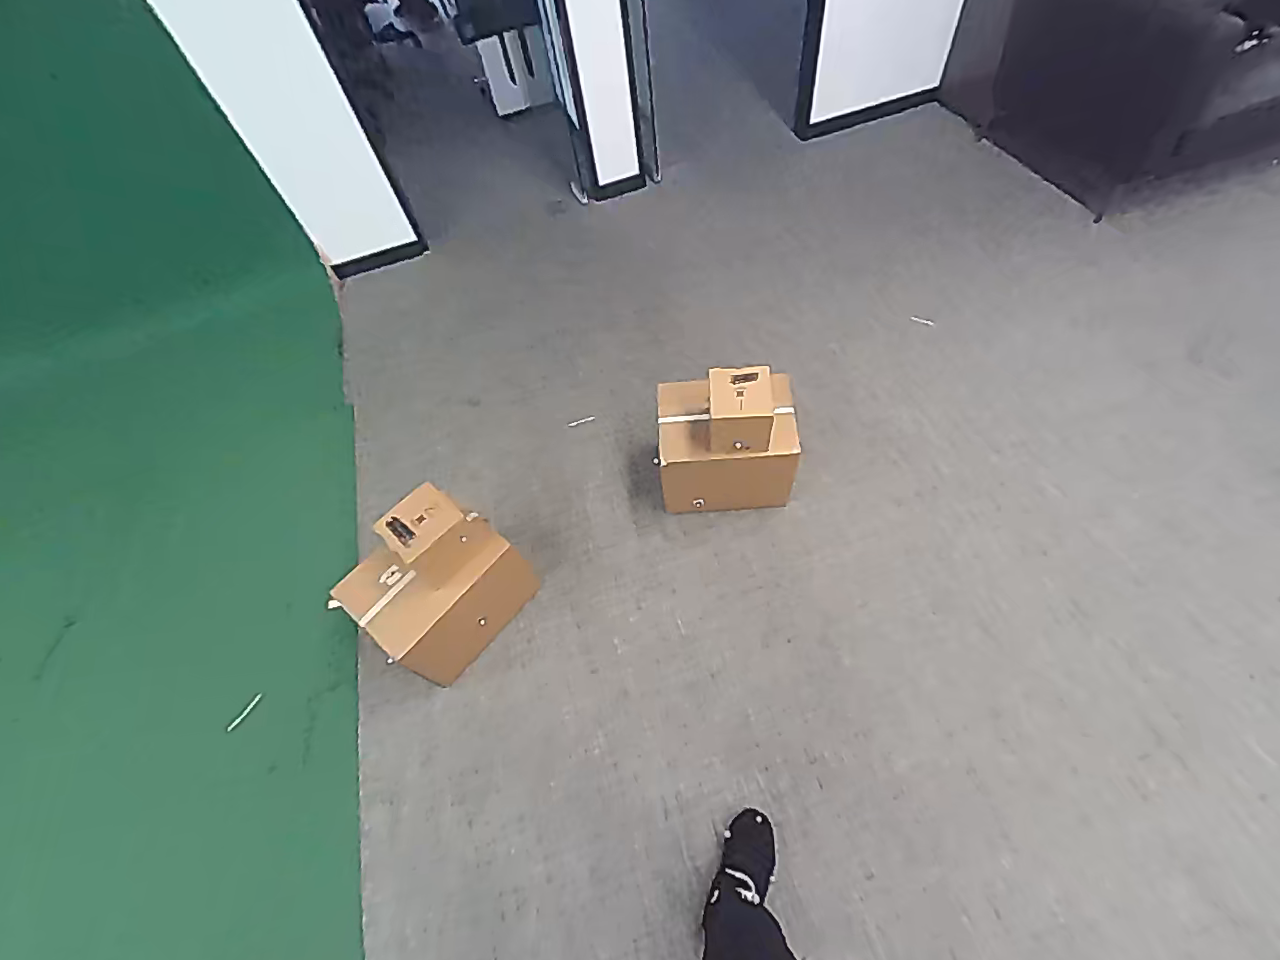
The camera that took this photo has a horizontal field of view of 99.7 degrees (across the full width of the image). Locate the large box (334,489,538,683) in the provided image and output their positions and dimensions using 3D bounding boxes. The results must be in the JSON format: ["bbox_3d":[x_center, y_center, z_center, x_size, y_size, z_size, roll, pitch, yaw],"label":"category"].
[{"bbox_3d":[-0.572,0.313,1.592,0.320,0.320,0.408,31,68,25],"label":"large box"}]

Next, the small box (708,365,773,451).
[{"bbox_3d":[0.275,-0.200,1.511,0.168,0.176,0.179,-1,59,7],"label":"small box"}]
